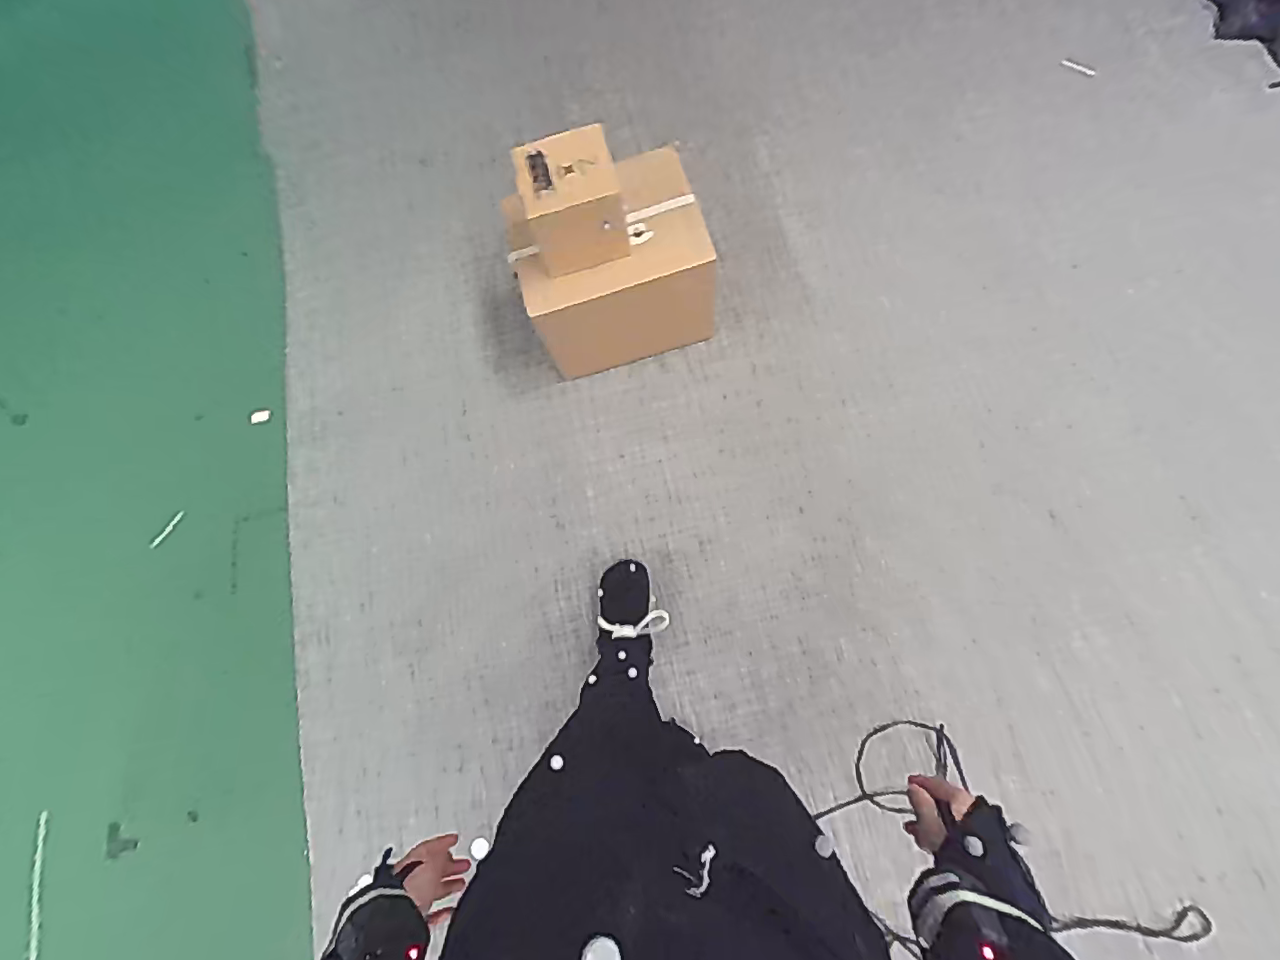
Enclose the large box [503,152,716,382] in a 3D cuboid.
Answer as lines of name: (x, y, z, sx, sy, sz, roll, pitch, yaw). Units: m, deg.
large box: (-0.059, -0.483, 1.289, 0.408, 0.320, 0.320, -17, 75, 1)
